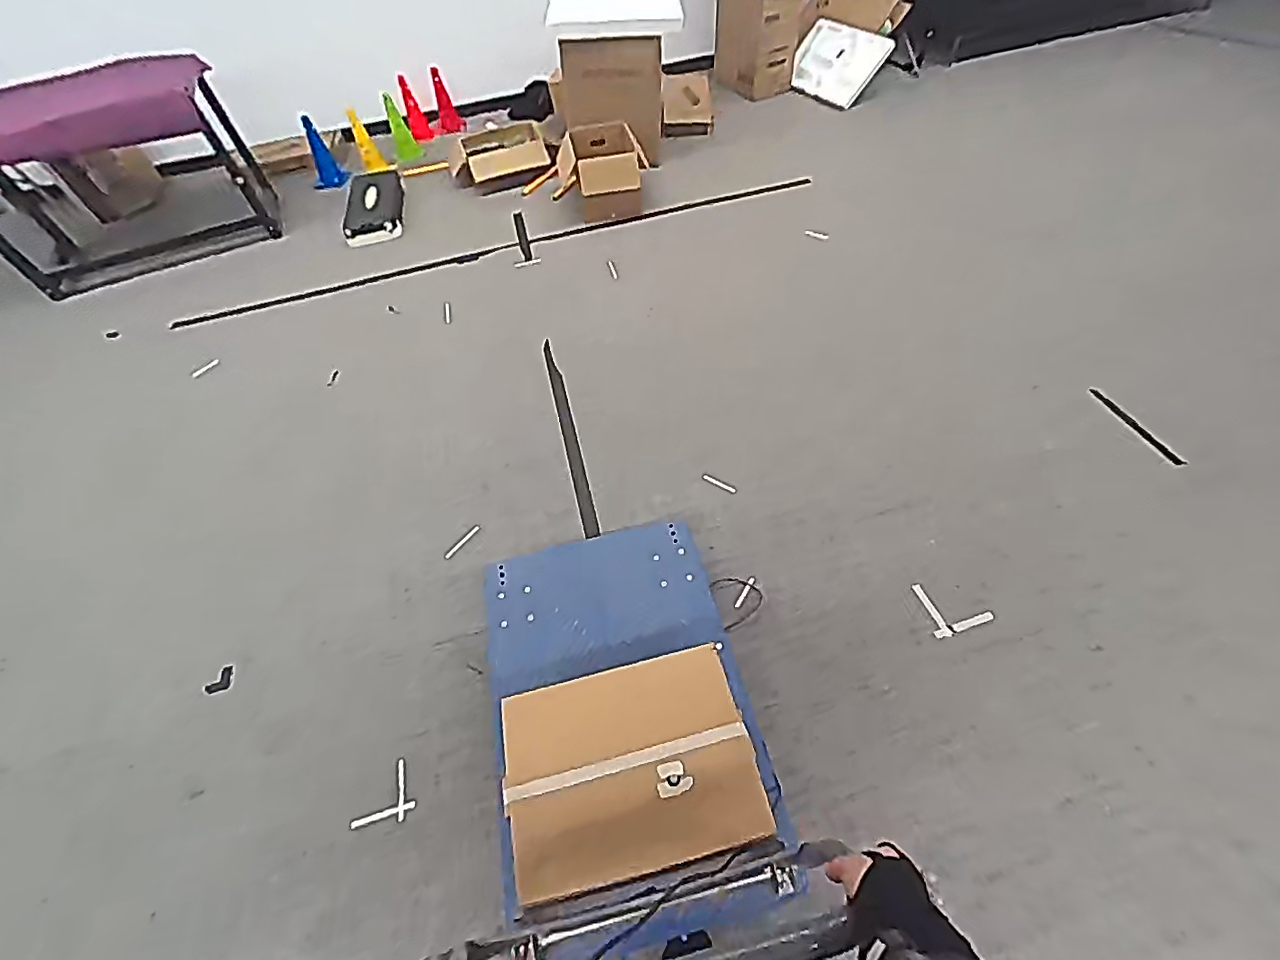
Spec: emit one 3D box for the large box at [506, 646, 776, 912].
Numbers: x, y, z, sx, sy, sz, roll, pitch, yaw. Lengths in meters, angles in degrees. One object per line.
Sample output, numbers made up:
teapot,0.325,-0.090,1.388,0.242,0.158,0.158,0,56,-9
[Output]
large box,-0.006,0.566,1.023,0.408,0.320,0.320,-13,53,-5
